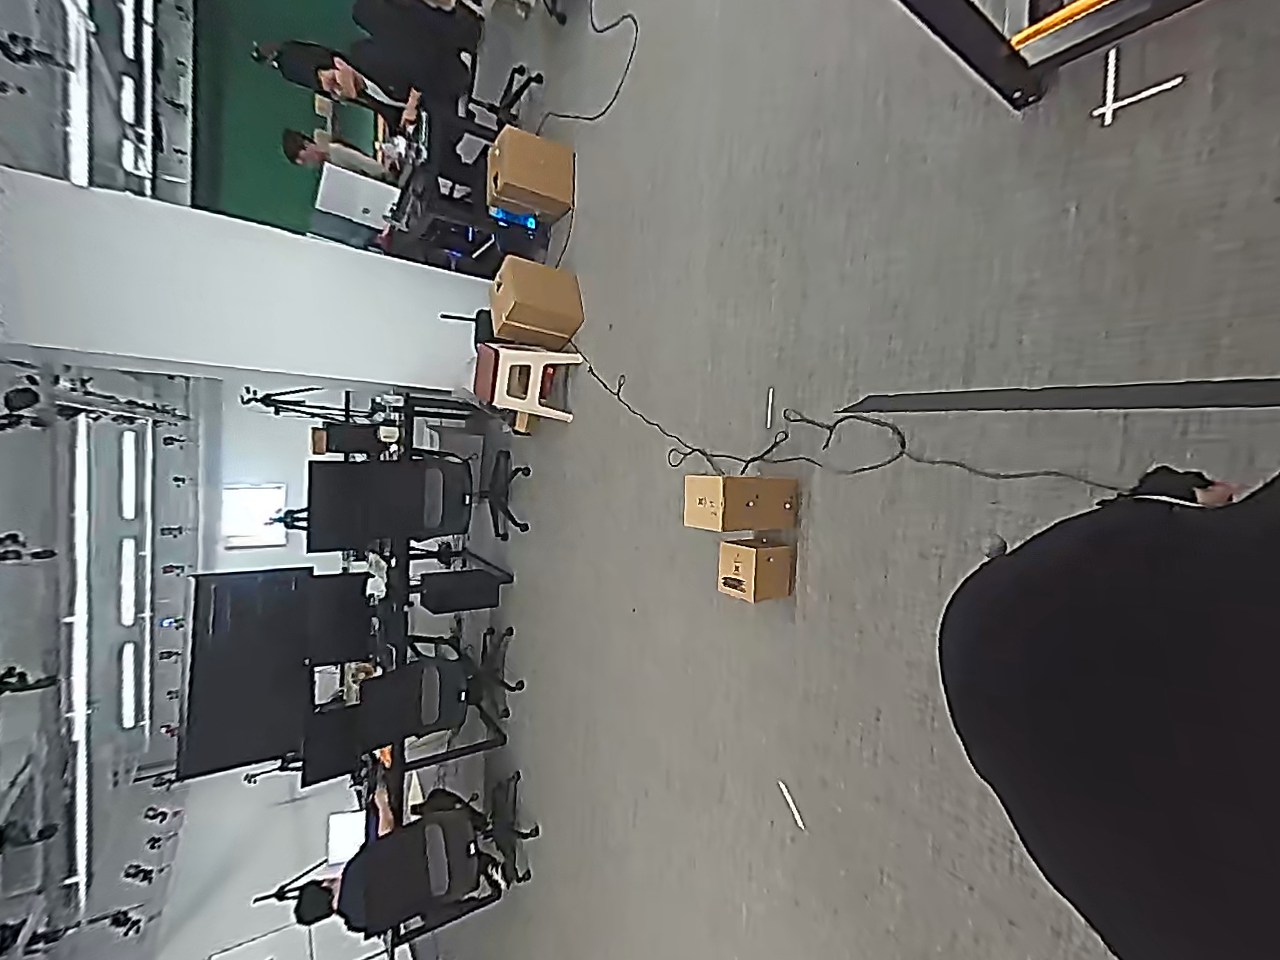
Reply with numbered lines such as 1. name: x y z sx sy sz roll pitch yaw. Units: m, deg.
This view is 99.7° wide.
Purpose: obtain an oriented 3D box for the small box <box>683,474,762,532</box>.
1. small box: 0.256 0.067 1.682 0.179 0.176 0.168 4 93 54

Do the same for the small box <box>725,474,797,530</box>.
1. small box: 0.390 0.069 1.777 0.179 0.176 0.168 6 95 54
